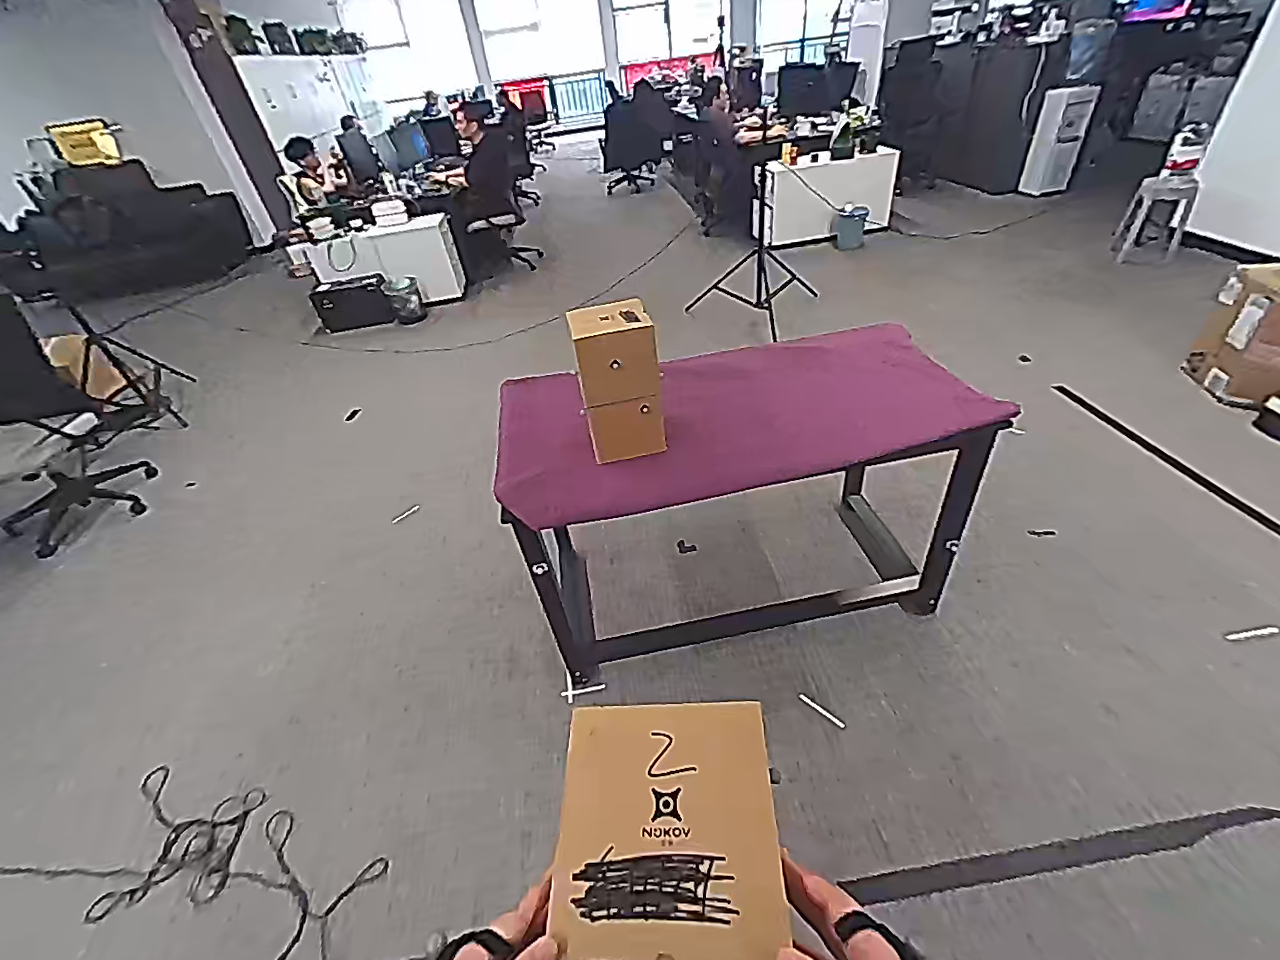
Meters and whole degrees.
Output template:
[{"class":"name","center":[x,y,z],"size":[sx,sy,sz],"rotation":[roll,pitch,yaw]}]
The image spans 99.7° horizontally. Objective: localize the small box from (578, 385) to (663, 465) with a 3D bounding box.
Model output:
[{"class":"small box","center":[-0.047,-0.157,1.346],"size":[0.179,0.176,0.168],"rotation":[-12,39,-5]}]

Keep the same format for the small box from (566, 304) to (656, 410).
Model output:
[{"class":"small box","center":[-0.063,-0.282,1.240],"size":[0.179,0.176,0.168],"rotation":[-12,38,-5]}]
